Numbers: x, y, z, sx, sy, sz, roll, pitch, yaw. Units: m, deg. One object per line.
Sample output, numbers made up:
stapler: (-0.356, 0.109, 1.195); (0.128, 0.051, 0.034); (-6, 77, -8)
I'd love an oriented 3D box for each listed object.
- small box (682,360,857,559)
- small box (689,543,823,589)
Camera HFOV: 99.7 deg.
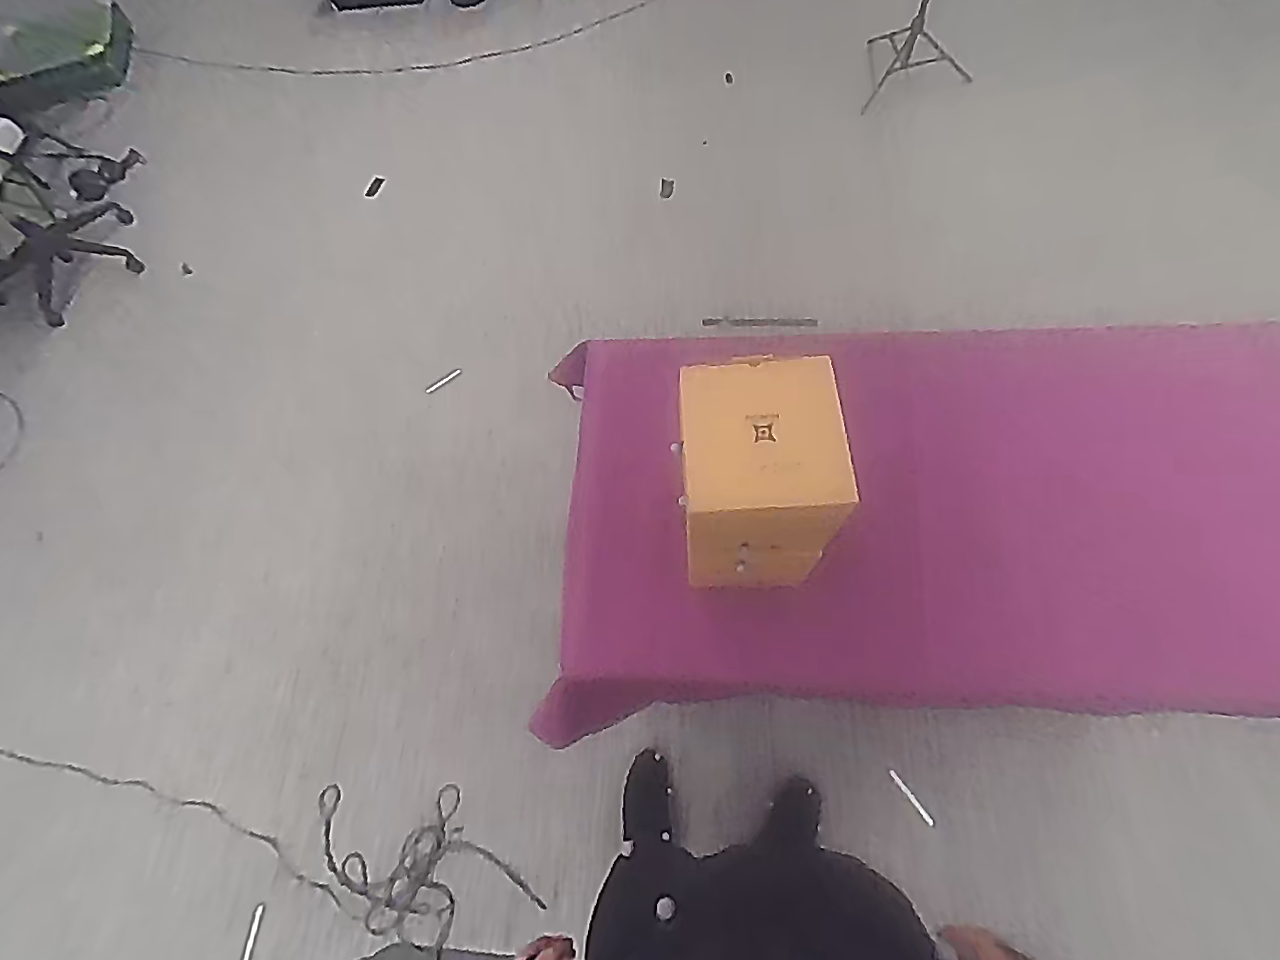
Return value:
small box: (0.134, -0.017, 0.632); (0.168, 0.176, 0.179); (-3, 66, 4)
small box: (0.153, 0.051, 0.779); (0.168, 0.176, 0.179); (-2, 66, 5)
